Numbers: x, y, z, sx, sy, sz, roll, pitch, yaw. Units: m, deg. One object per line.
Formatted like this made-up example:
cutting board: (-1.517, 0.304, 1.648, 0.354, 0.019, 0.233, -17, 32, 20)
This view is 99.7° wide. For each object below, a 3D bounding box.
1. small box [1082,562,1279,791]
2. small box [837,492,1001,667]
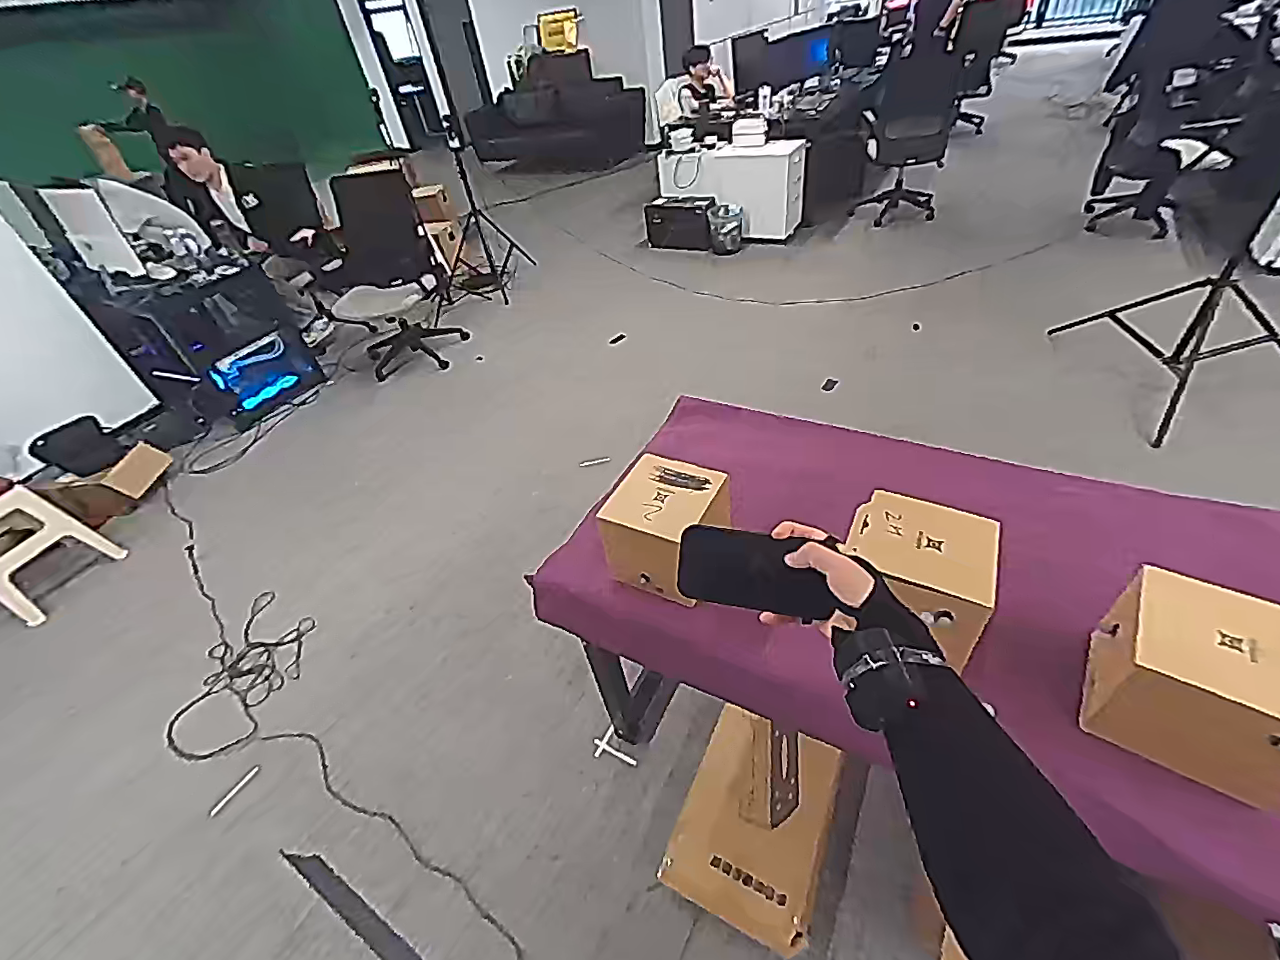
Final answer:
small box: (0.676, 0.236, 0.656, 0.179, 0.176, 0.168, 21, 50, 30)
small box: (0.409, 0.149, 0.806, 0.179, 0.176, 0.168, 14, 44, 25)
